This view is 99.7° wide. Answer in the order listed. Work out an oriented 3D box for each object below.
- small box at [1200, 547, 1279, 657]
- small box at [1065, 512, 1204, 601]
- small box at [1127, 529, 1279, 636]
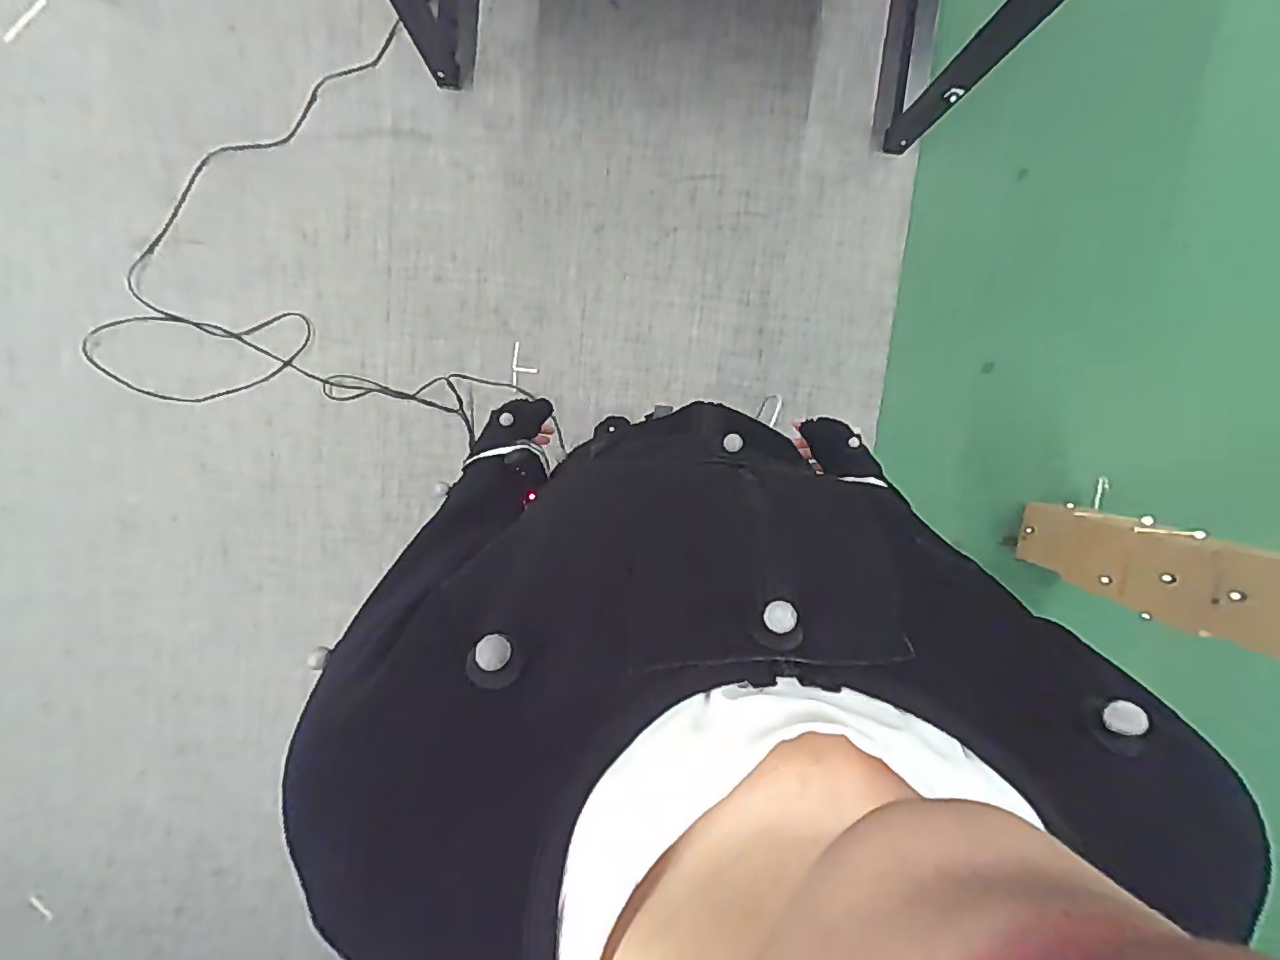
[{"bbox_3d":[1.177,0.226,0.956,0.179,0.176,0.168,9,98,-2],"label":"small box"},{"bbox_3d":[1.159,0.179,1.281,0.168,0.176,0.179,6,98,-1],"label":"small box"},{"bbox_3d":[1.170,0.210,1.120,0.168,0.176,0.179,4,98,-2],"label":"small box"}]
